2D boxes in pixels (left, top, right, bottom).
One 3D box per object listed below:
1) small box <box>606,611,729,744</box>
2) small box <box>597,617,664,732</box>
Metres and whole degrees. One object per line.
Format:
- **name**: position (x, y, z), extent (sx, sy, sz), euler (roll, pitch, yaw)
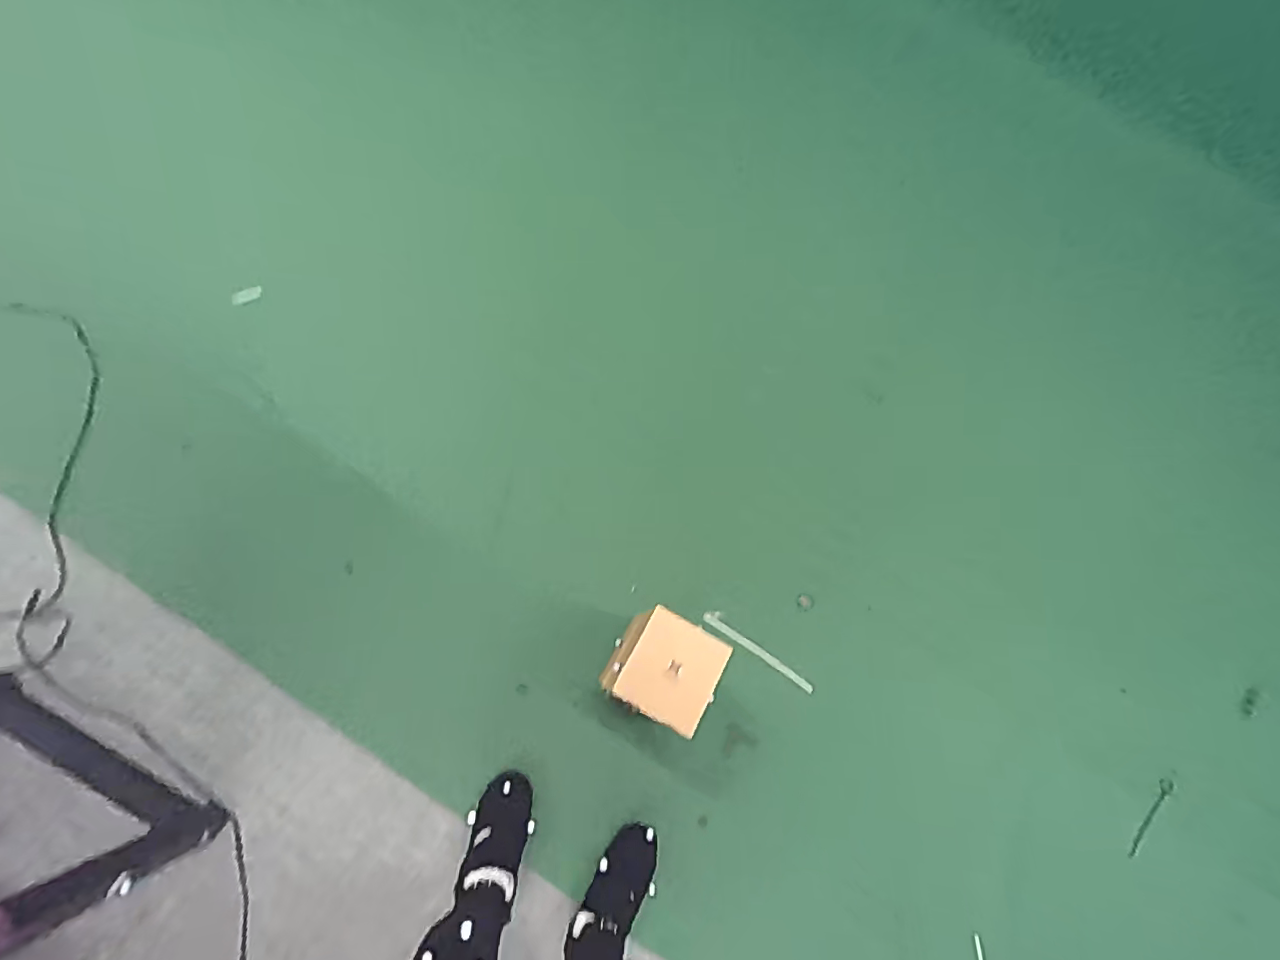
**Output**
- **small box**: position (0.044, 0.377, 1.056), extent (0.168, 0.176, 0.179), euler (30, 72, 2)
- **small box**: position (0.016, 0.430, 1.208), extent (0.168, 0.176, 0.179), euler (31, 71, 2)
